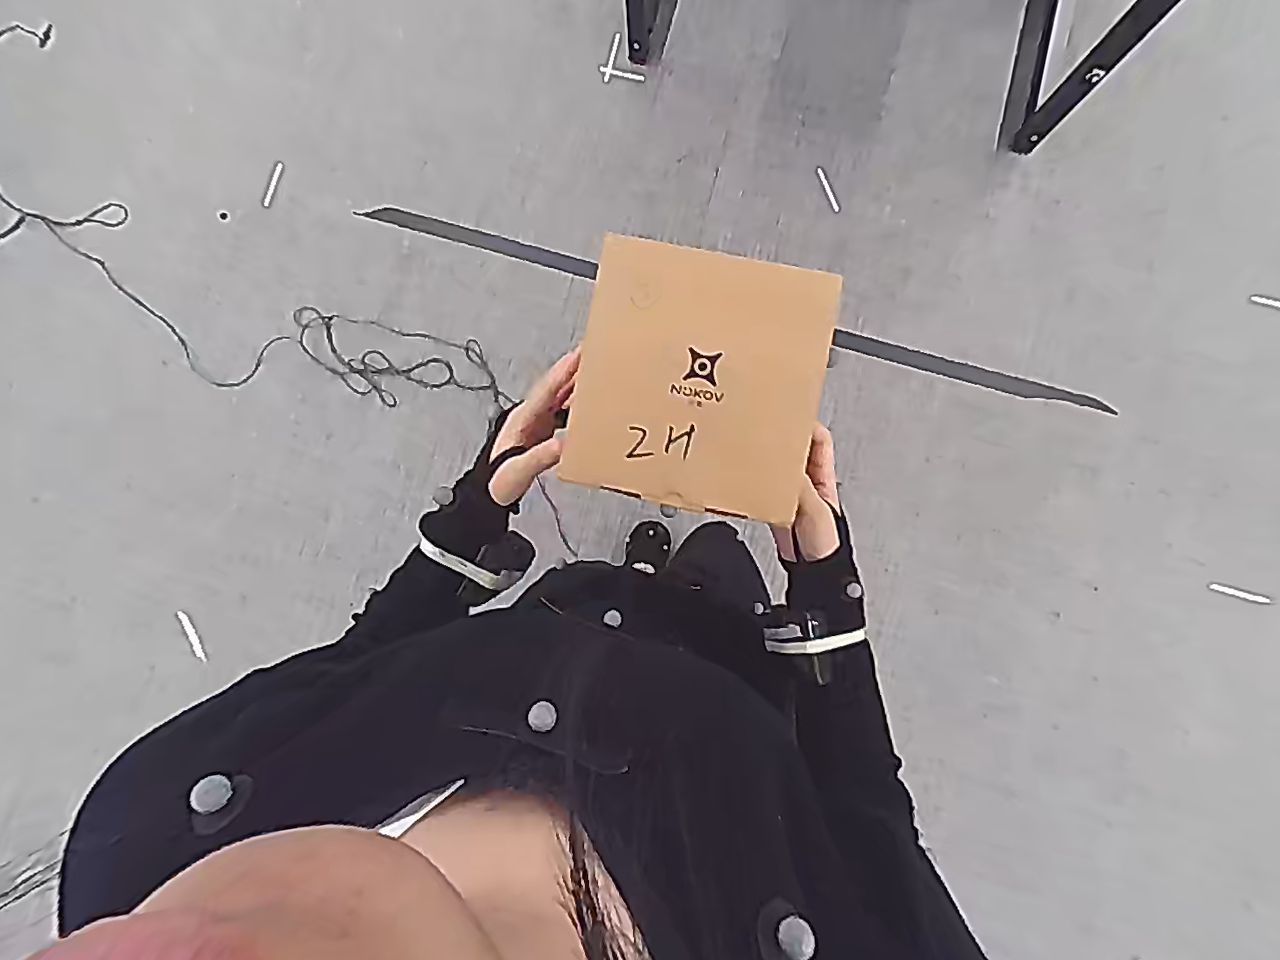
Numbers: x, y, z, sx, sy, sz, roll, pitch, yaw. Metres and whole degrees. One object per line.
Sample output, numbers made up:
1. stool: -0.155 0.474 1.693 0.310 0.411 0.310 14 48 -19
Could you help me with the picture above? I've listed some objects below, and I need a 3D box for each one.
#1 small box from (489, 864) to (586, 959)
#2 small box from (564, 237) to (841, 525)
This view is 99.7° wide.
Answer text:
1. small box: -0.248 1.108 1.348 0.179 0.176 0.168 21 86 3
2. small box: 0.046 -0.069 0.453 0.168 0.176 0.179 12 91 3
